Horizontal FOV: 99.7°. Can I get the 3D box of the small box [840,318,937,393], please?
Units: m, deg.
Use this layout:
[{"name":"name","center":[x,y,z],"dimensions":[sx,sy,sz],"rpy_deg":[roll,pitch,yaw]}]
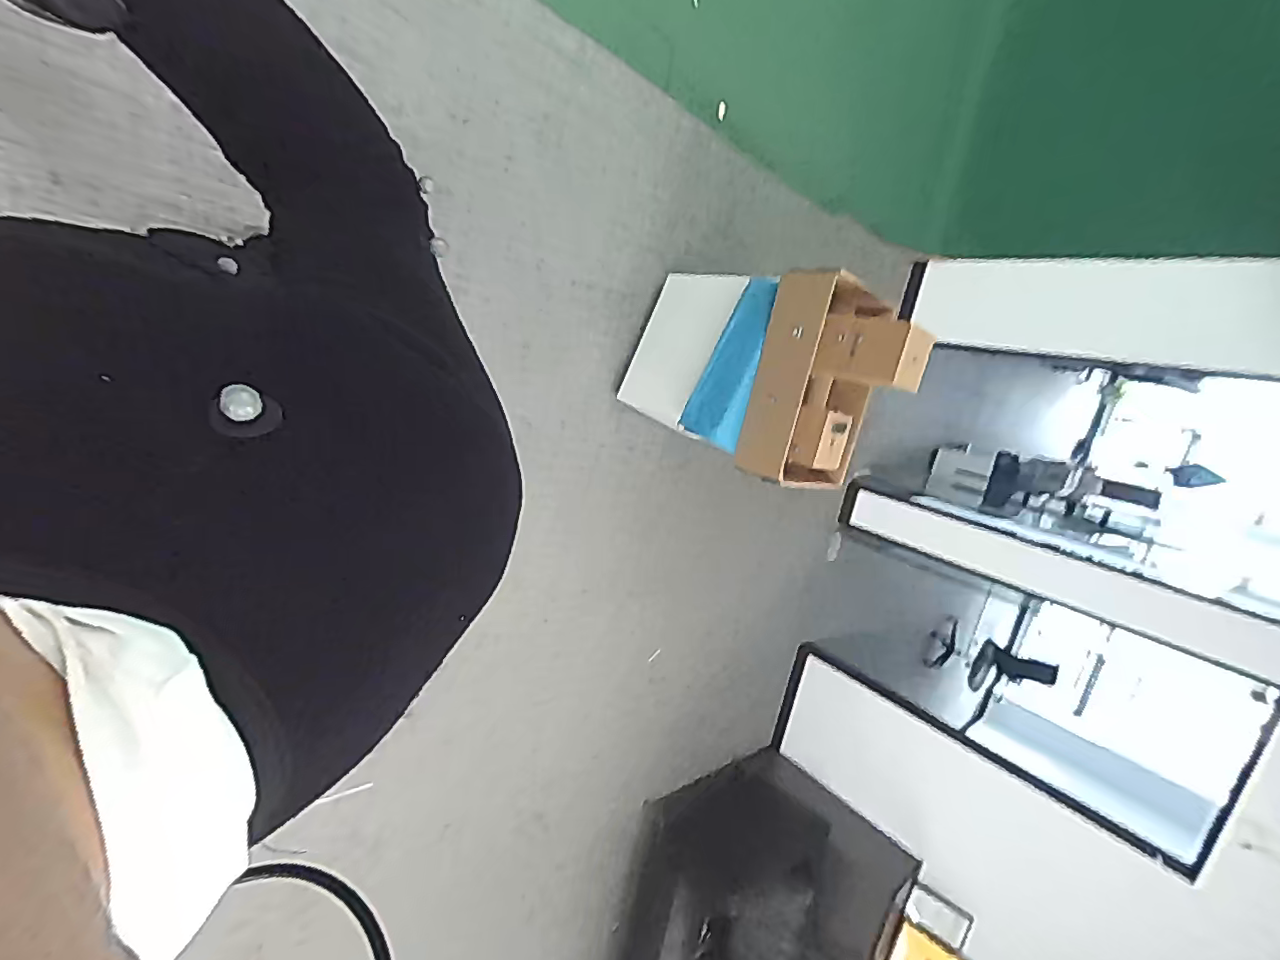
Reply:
[{"name":"small box","center":[0.700,-0.354,1.529],"dimensions":[0.179,0.176,0.168],"rpy_deg":[3,105,-43]}]
